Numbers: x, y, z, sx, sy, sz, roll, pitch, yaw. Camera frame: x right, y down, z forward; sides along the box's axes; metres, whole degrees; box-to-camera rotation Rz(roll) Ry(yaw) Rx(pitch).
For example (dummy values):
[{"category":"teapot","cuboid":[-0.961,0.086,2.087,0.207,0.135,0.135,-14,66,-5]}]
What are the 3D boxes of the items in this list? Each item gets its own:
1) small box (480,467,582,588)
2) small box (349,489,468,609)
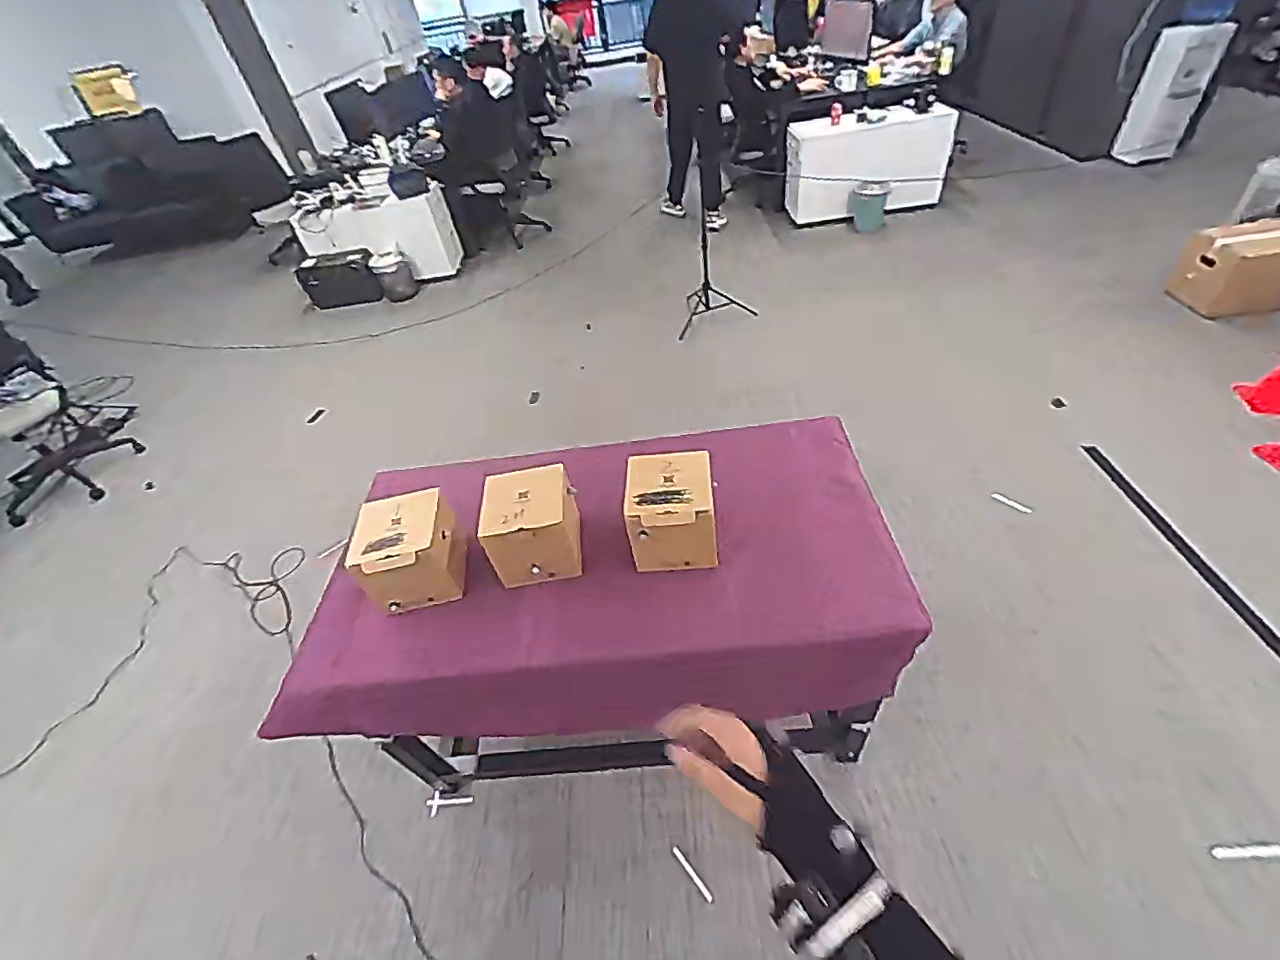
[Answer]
[{"category":"small box","cuboid":[-0.220,0.099,1.135,0.168,0.176,0.179,-10,44,2]},{"category":"small box","cuboid":[-0.471,0.151,1.131,0.168,0.176,0.179,-12,43,-2]}]
